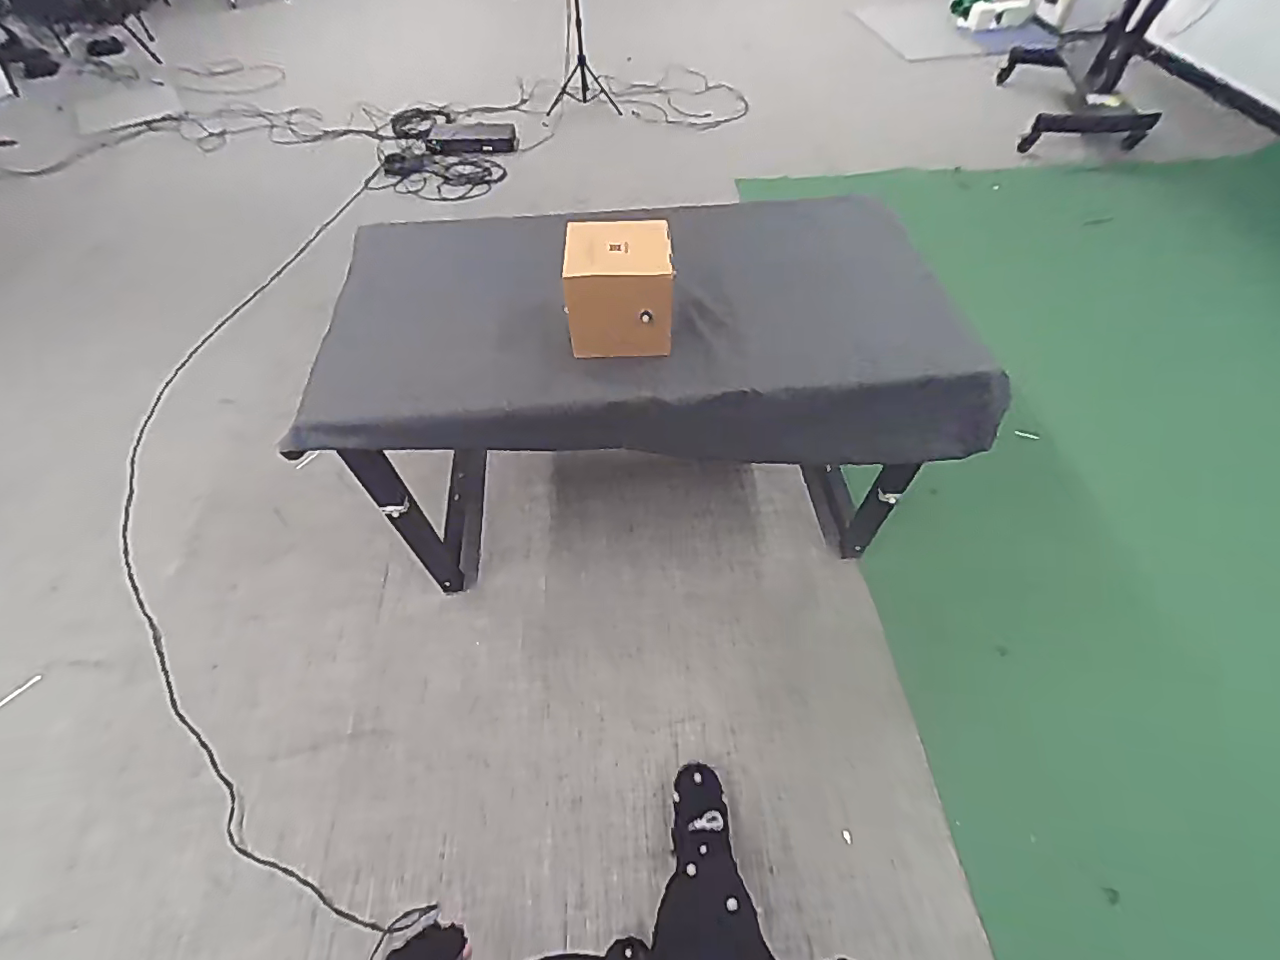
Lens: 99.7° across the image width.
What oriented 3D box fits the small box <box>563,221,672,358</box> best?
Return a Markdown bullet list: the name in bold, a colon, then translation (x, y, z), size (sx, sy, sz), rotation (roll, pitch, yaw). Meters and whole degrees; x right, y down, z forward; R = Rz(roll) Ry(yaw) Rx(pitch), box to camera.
- **small box**: translation (-0.036, -0.336, 0.966), size (0.179, 0.176, 0.168), rotation (-3, 53, 1)
